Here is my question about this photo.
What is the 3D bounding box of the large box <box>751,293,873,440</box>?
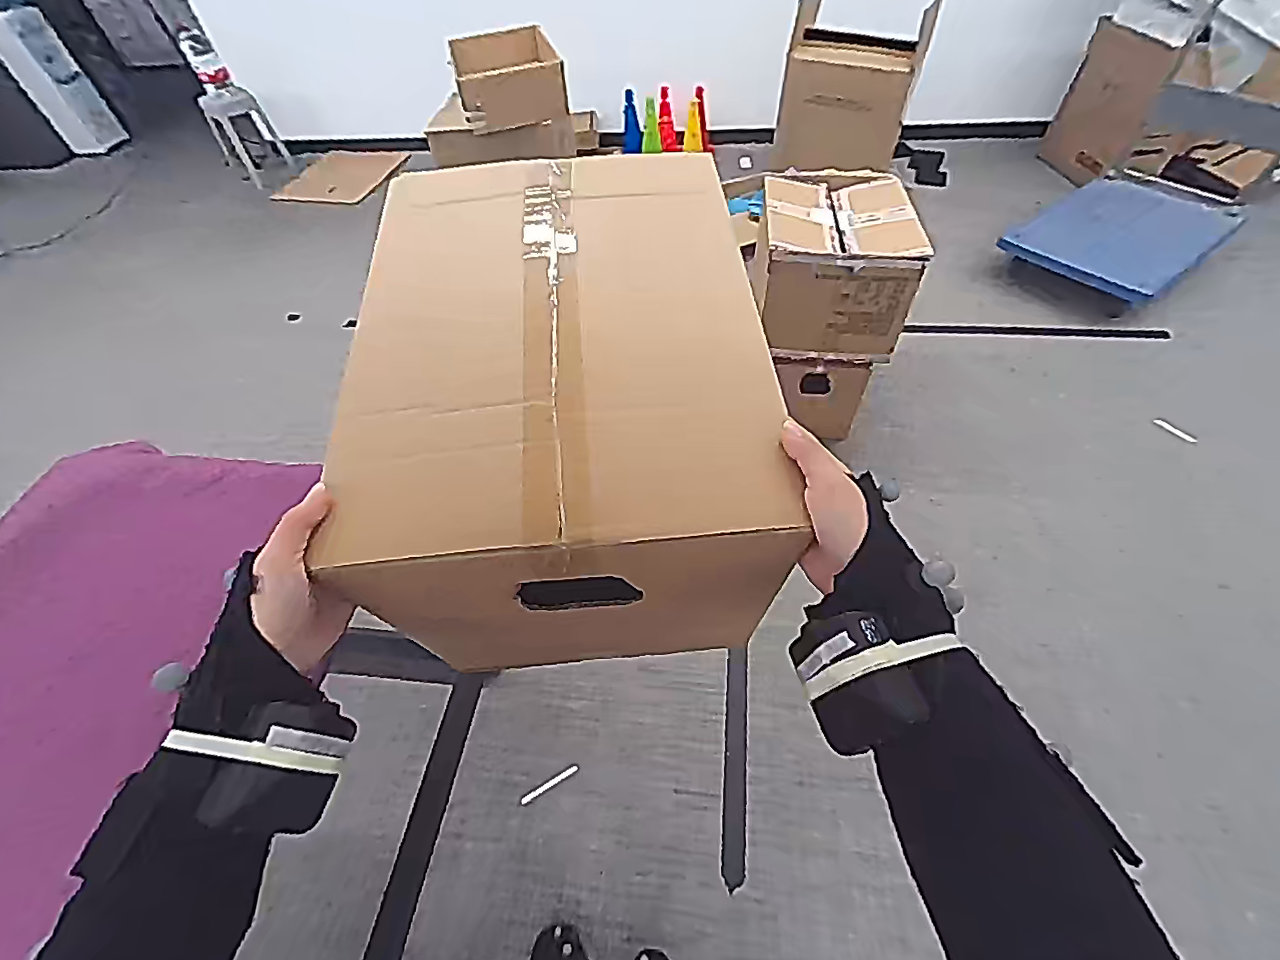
[{"bbox_3d":[0.558,-0.389,1.846,0.320,0.320,0.408,2,52,6],"label":"large box"}]
